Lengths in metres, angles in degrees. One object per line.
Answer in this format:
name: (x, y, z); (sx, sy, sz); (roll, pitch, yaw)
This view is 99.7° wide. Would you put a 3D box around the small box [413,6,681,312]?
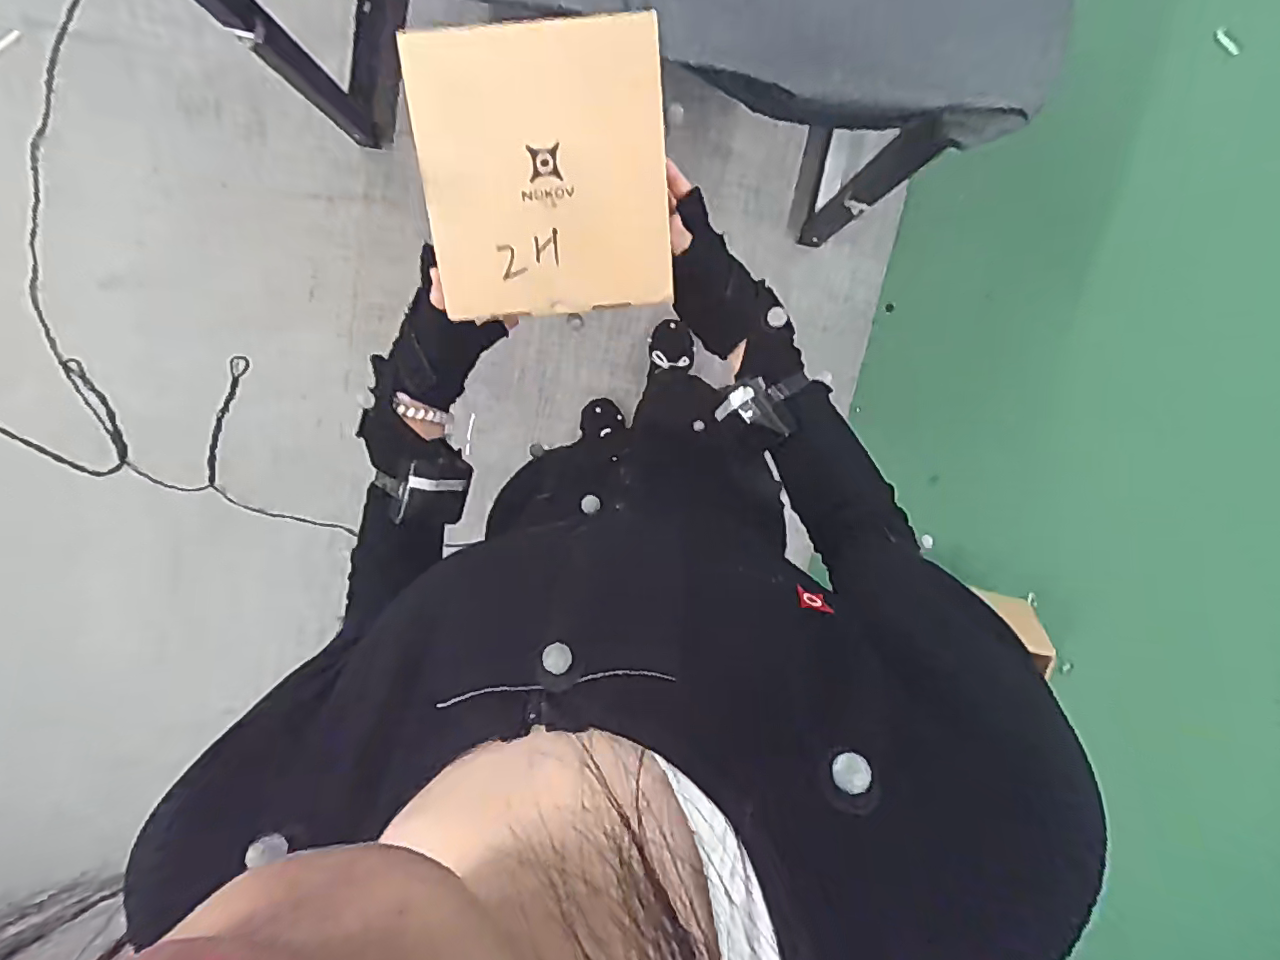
small box: (-0.060, -0.233, 0.438); (0.168, 0.176, 0.179); (-4, 108, 0)
